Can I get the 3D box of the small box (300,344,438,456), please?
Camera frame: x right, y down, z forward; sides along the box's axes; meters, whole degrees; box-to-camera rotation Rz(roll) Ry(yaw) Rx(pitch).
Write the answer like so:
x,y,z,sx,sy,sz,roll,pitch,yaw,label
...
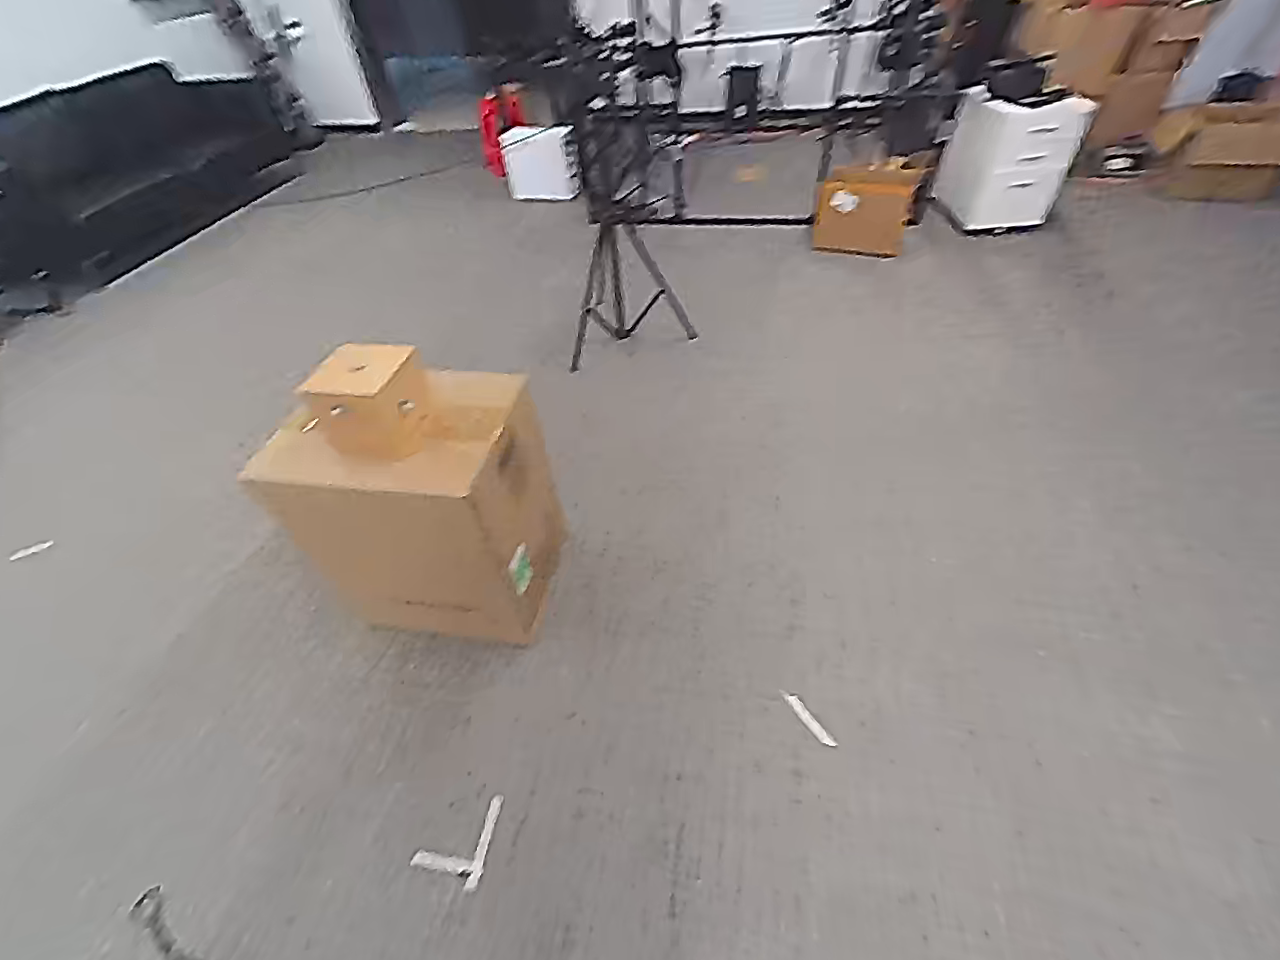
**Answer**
x,y,z,sx,sy,sz,roll,pitch,yaw,label
-0.557,-0.167,1.145,0.179,0.176,0.168,4,47,10,small box
